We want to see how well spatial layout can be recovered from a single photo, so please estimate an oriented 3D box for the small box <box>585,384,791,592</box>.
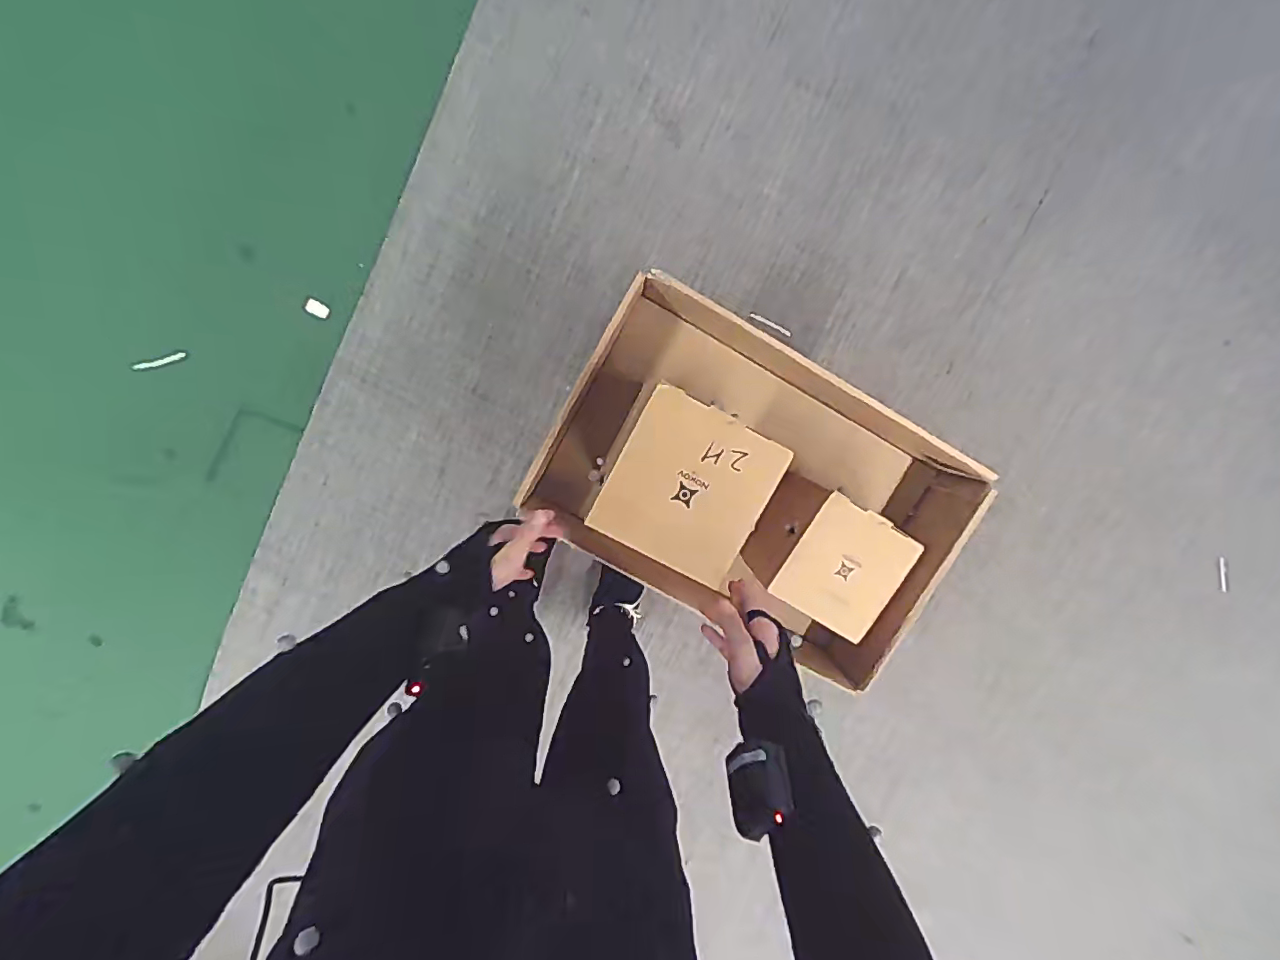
[{"bbox_3d":[0.050,0.000,0.655,0.168,0.176,0.179,28,97,-6],"label":"small box"}]
